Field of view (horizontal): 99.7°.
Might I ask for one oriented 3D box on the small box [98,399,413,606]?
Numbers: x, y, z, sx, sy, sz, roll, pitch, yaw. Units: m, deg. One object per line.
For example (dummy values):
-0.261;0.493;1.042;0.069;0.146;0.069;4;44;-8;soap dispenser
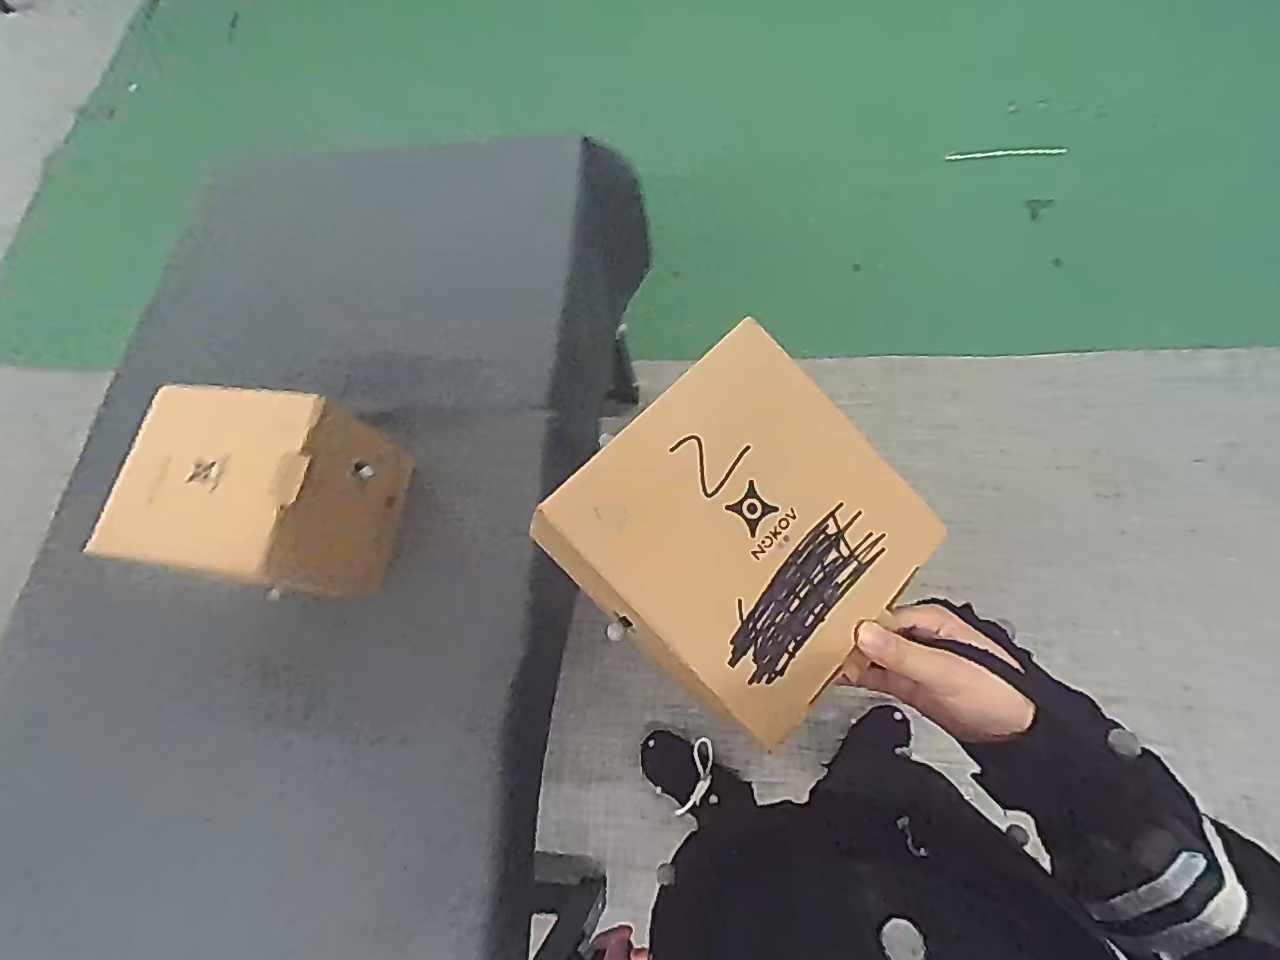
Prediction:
-0.367;0.032;0.557;0.179;0.176;0.168;4;70;11;small box
